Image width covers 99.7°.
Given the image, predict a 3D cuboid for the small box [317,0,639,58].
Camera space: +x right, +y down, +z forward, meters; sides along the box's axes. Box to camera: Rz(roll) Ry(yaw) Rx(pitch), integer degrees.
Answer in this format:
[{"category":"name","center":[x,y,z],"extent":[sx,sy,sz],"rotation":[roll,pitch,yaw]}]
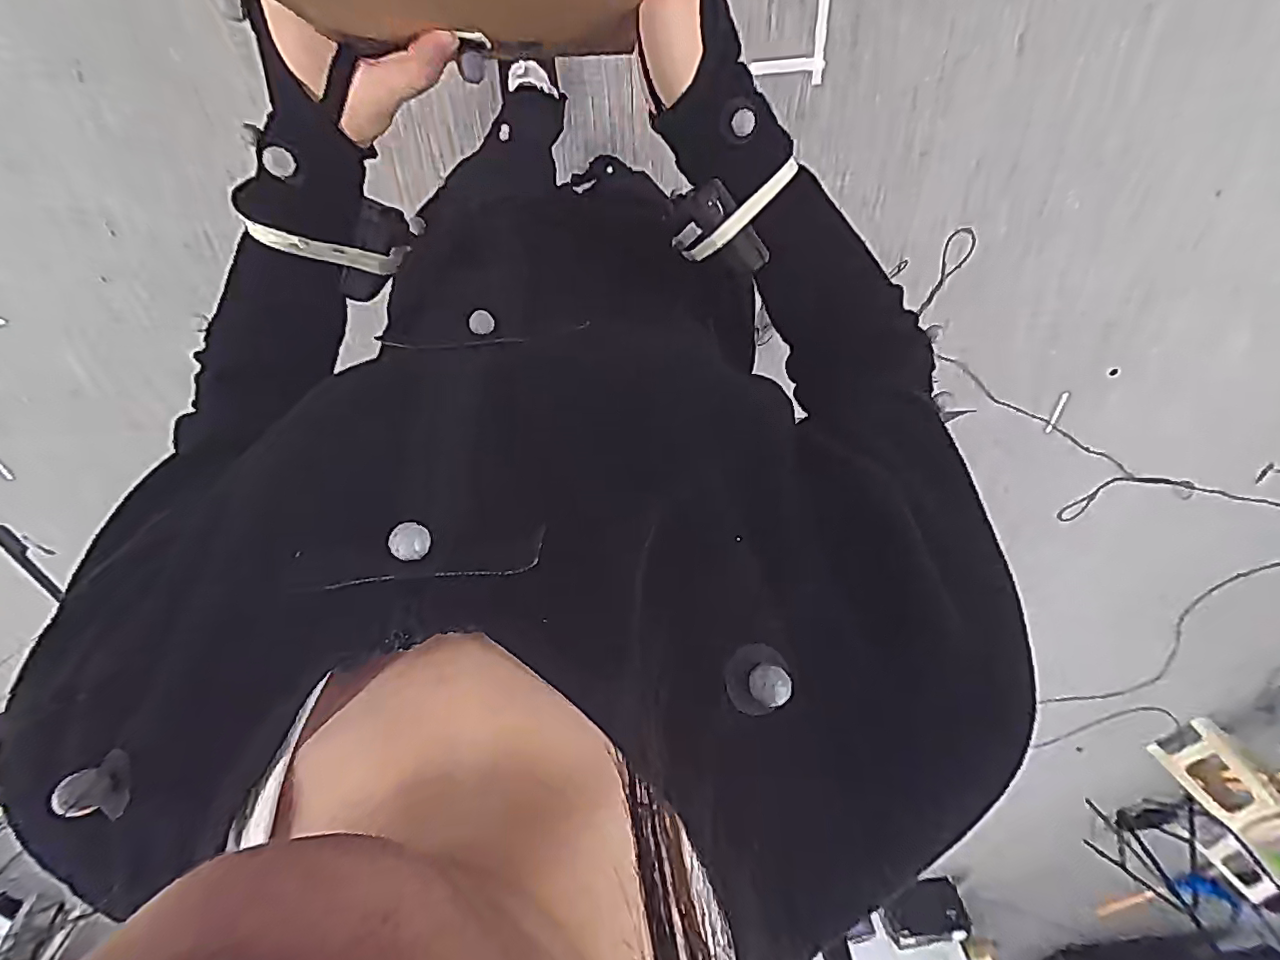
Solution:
[{"category":"small box","center":[-0.083,-0.303,0.219],"extent":[0.168,0.176,0.179],"rotation":[-3,116,-2]}]
